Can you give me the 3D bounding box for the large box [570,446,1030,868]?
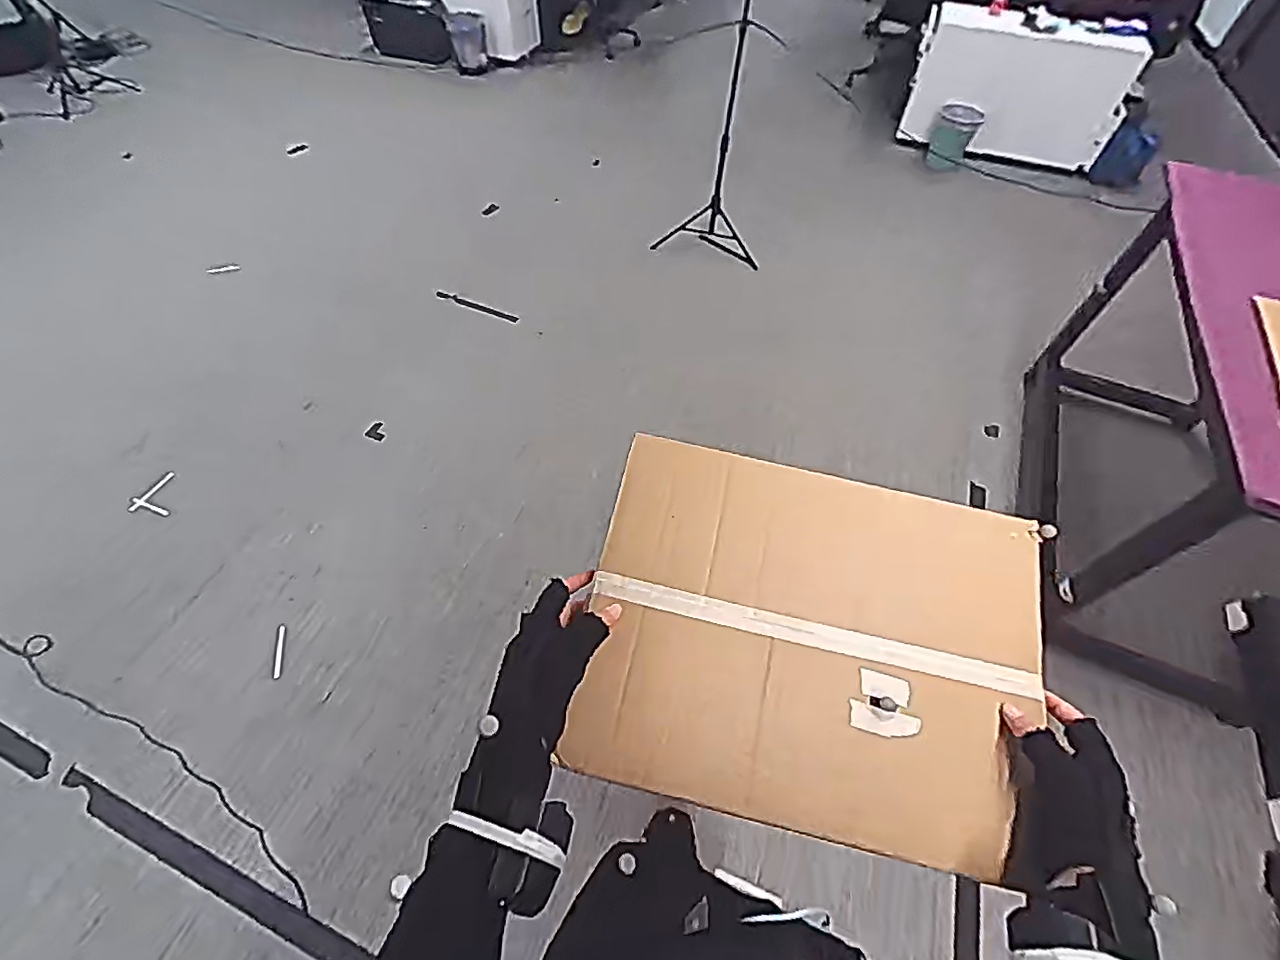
[{"bbox_3d":[0.158,0.193,0.648,0.408,0.320,0.320,13,71,4],"label":"large box"}]
